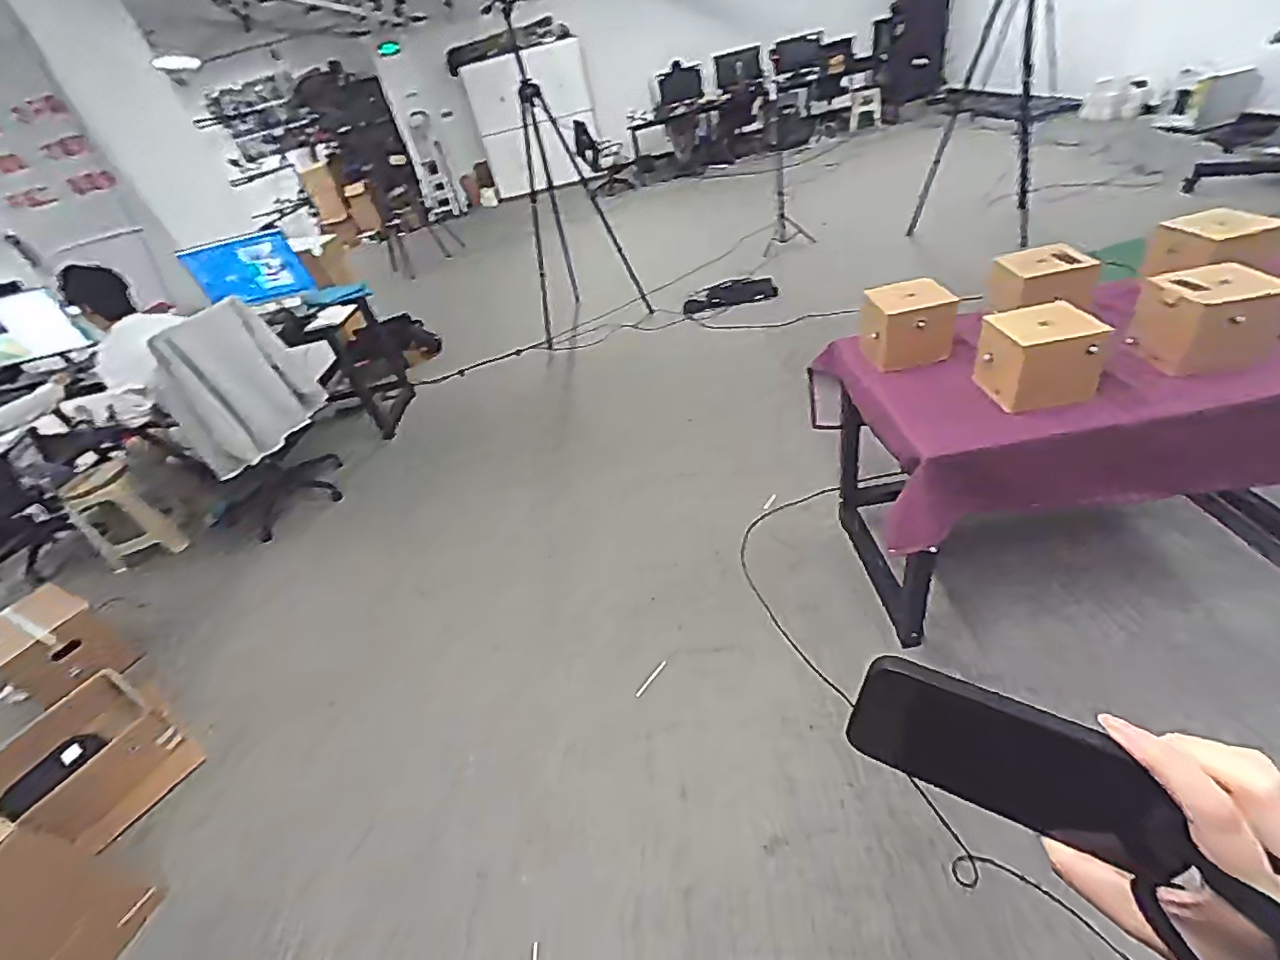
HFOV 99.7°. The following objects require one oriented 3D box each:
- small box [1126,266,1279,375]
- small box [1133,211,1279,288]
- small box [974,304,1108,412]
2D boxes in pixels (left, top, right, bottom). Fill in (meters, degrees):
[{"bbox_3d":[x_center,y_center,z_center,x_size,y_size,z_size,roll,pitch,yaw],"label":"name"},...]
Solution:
[{"bbox_3d":[1.220,-0.345,1.184,0.179,0.176,0.168,-8,38,8],"label":"small box"},{"bbox_3d":[1.432,-0.565,1.385,0.168,0.176,0.179,-13,38,4],"label":"small box"},{"bbox_3d":[0.877,-0.269,1.207,0.179,0.176,0.168,-9,38,6],"label":"small box"}]
